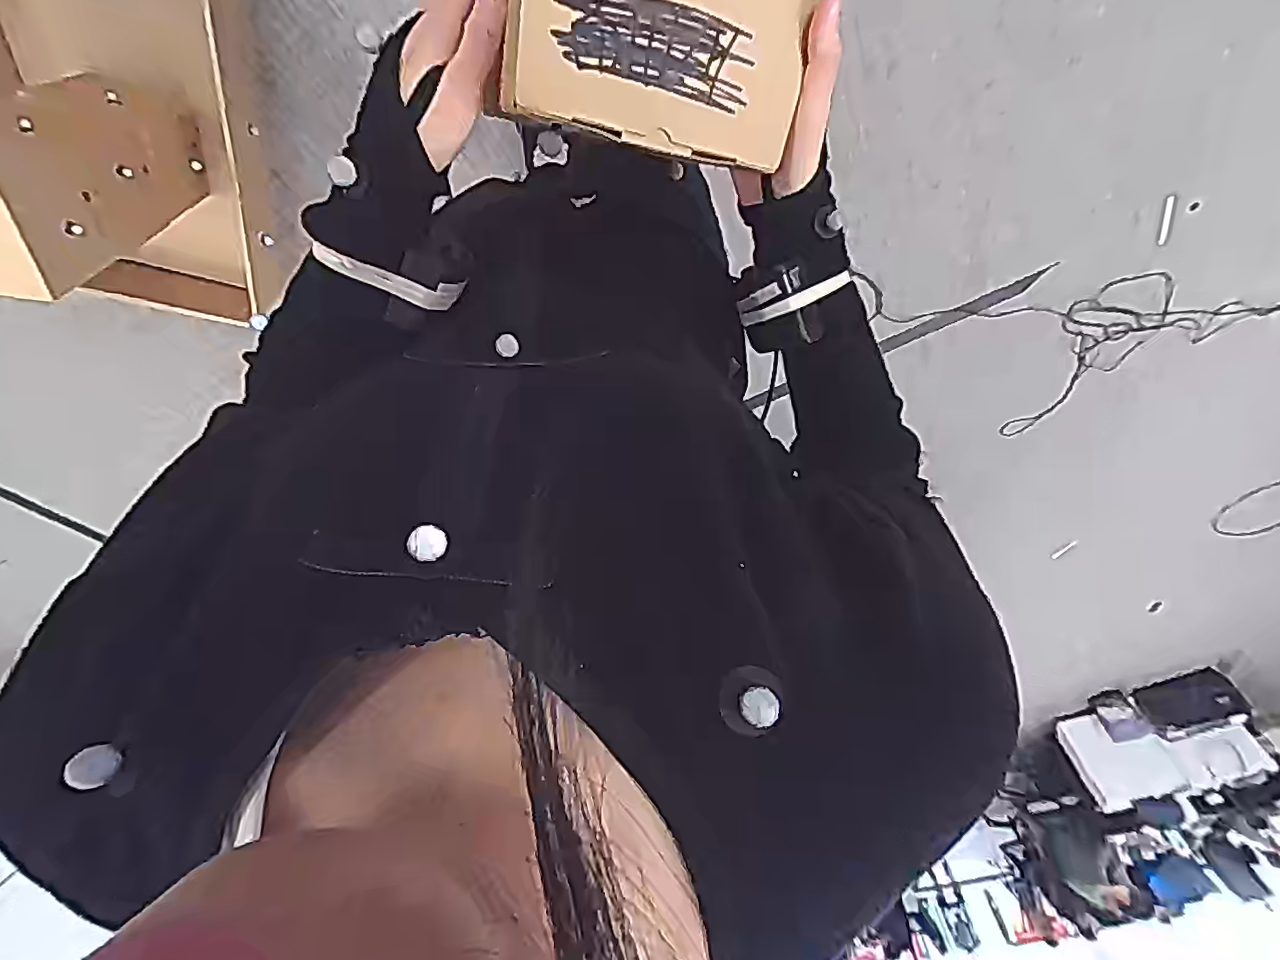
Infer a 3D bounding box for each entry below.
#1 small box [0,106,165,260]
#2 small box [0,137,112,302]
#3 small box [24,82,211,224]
[{"bbox_3d":[-0.937,-0.492,0.893,0.179,0.176,0.168,7,132,-13],"label":"small box"},{"bbox_3d":[-0.917,-0.380,0.773,0.179,0.176,0.168,6,131,-14],"label":"small box"},{"bbox_3d":[-0.948,-0.610,1.003,0.179,0.176,0.168,9,133,-18],"label":"small box"}]
